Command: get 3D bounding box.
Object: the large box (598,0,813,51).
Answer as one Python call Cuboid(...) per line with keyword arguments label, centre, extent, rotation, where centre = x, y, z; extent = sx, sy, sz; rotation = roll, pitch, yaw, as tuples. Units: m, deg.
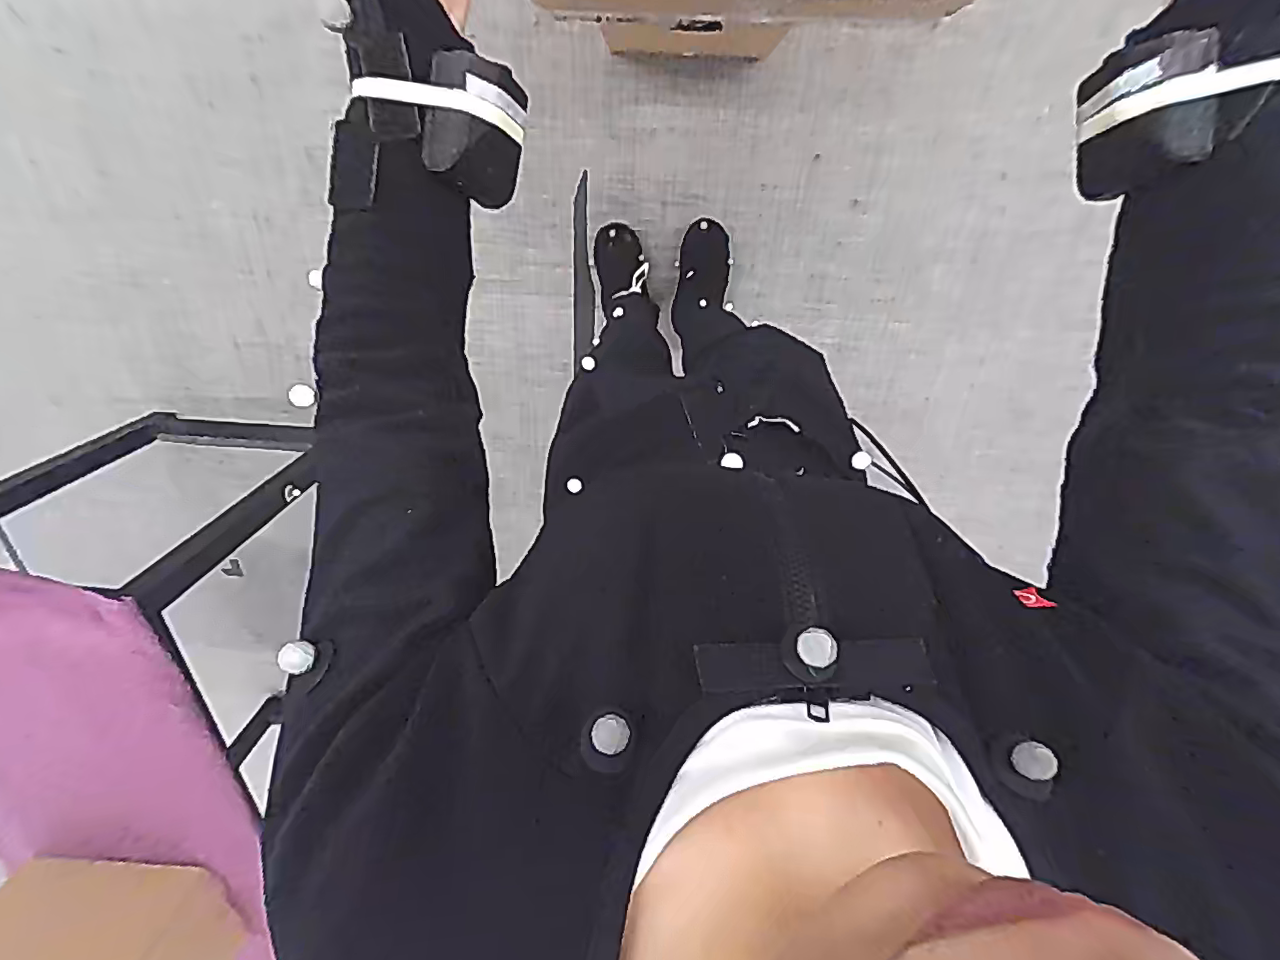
Cuboid(label="large box", centre=(0.099, -0.920, 0.804), extent=(0.320, 0.320, 0.408), rotation=(3, 120, 2))
